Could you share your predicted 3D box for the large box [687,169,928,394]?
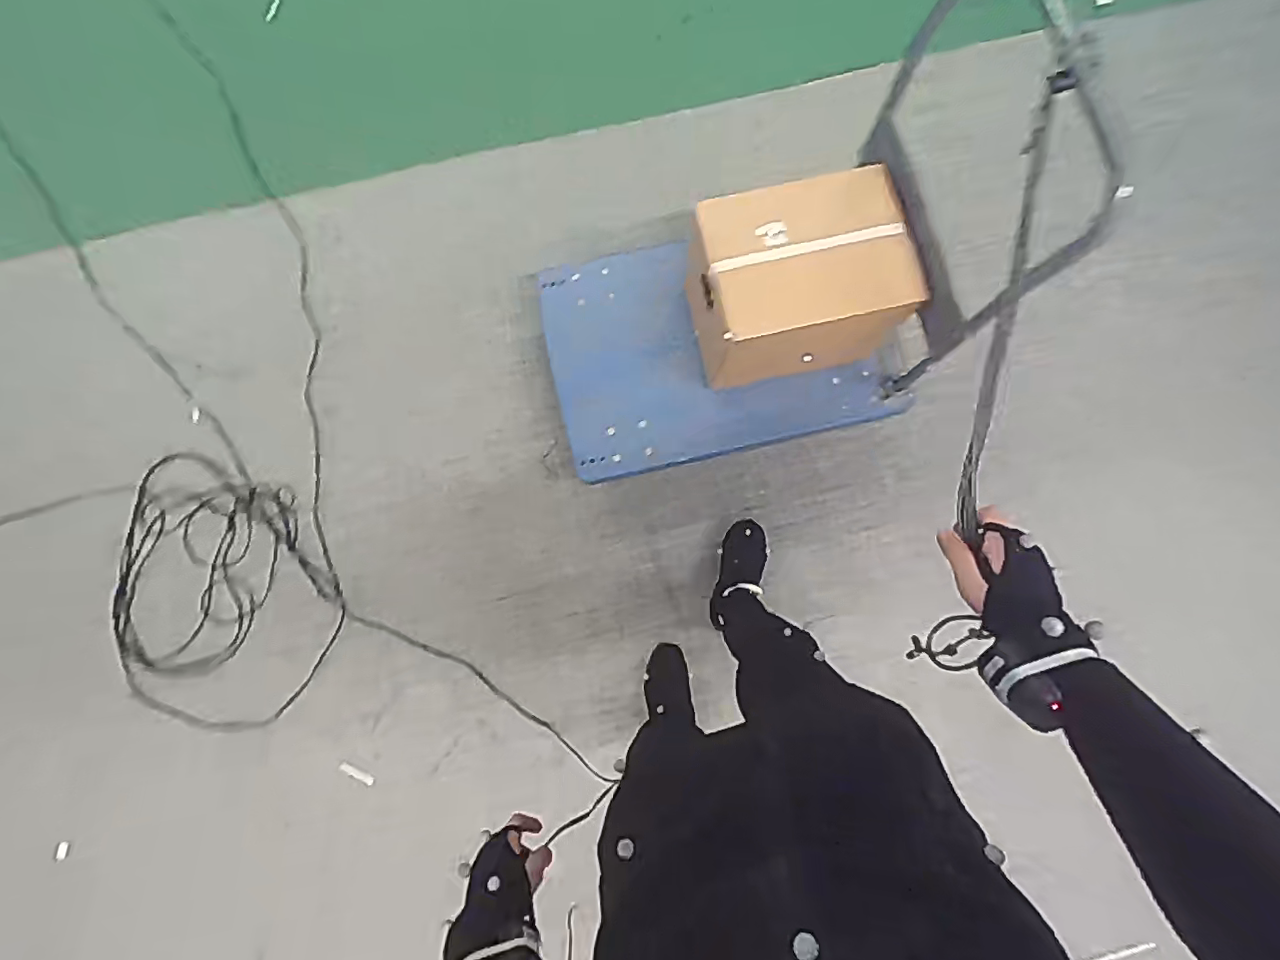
[{"bbox_3d":[0.342,-0.422,1.221,0.408,0.320,0.320,-13,80,-1],"label":"large box"}]
